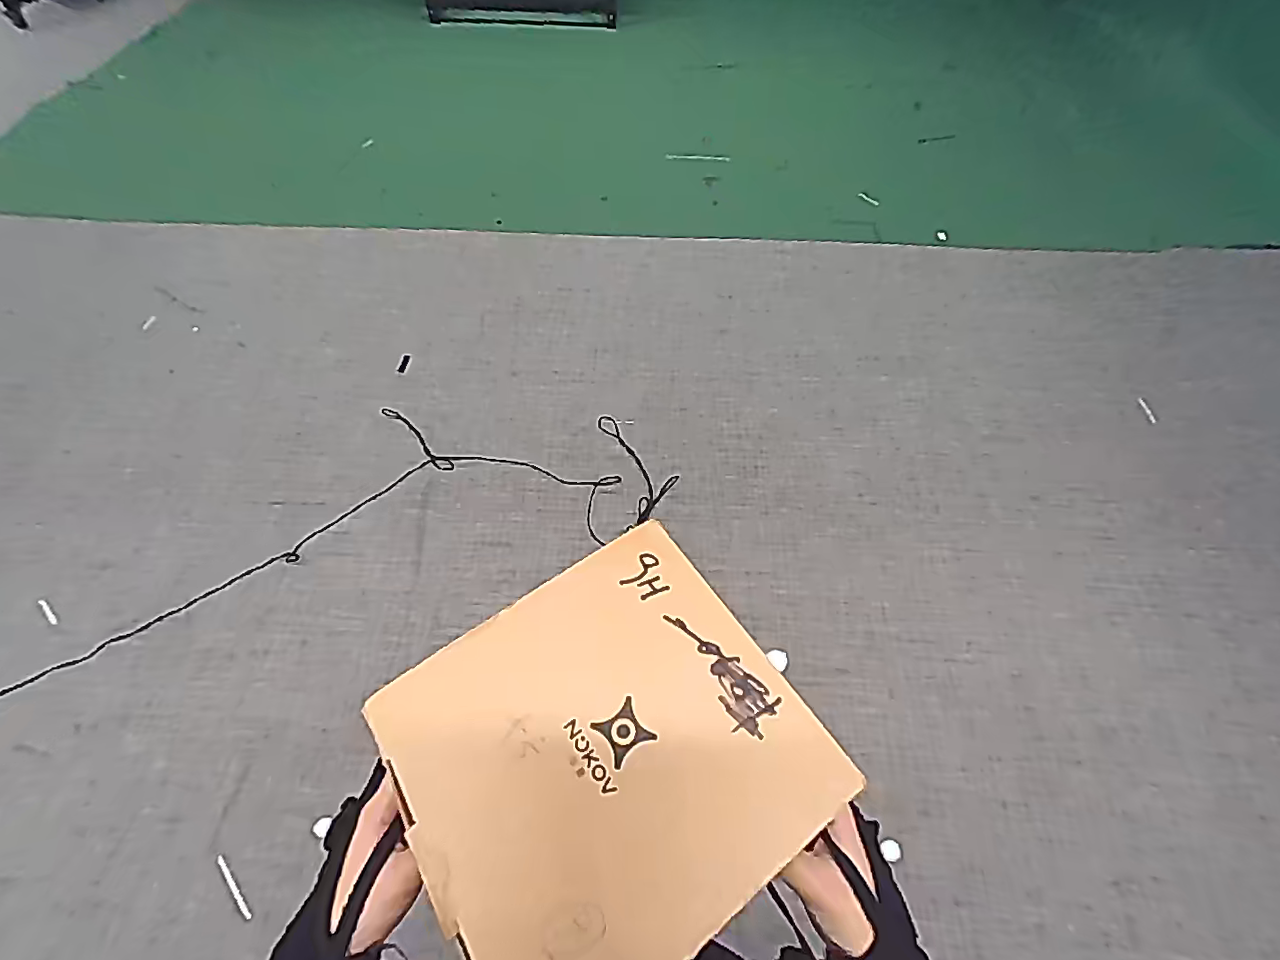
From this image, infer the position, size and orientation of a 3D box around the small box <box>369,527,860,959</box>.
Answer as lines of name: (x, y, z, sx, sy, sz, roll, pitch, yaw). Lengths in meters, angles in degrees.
small box: (-0.014, 0.165, 0.317, 0.179, 0.176, 0.168, -31, 64, -17)
